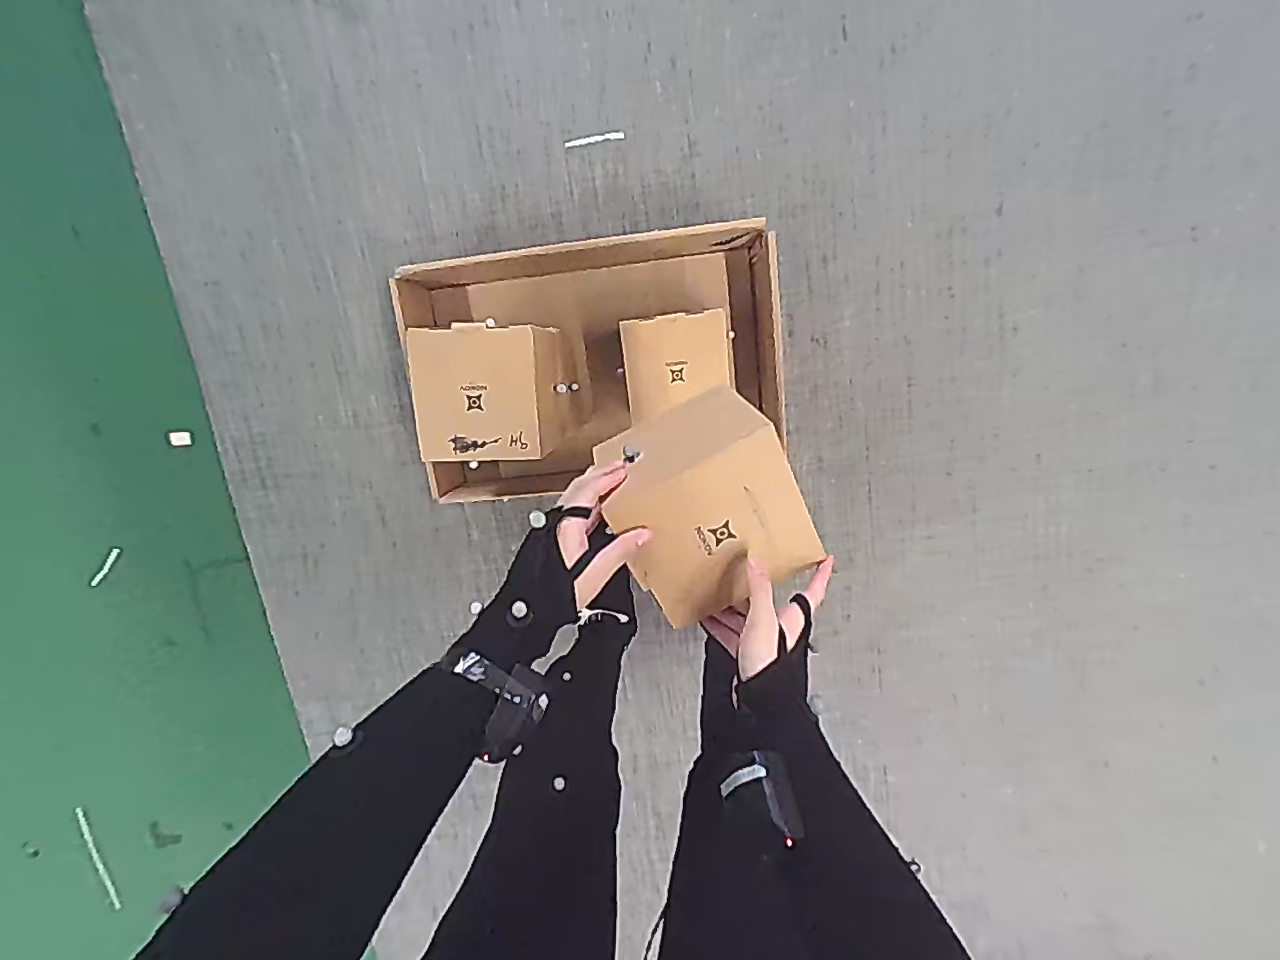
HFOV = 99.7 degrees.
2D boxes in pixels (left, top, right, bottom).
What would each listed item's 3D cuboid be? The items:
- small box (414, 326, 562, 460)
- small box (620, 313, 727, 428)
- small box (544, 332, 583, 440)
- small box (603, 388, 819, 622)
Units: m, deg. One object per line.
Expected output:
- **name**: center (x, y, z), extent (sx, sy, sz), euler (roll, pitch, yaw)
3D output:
- **small box**: center (-0.211, -0.128, 0.793), extent (0.168, 0.176, 0.179), euler (-1, 102, 2)
- **small box**: center (0.062, -0.188, 0.940), extent (0.168, 0.176, 0.179), euler (-6, 102, 4)
- **small box**: center (-0.199, -0.162, 0.953), extent (0.168, 0.176, 0.179), euler (-7, 102, 3)
- **small box**: center (0.067, 0.018, 0.607), extent (0.179, 0.176, 0.168), euler (-26, 115, 3)
